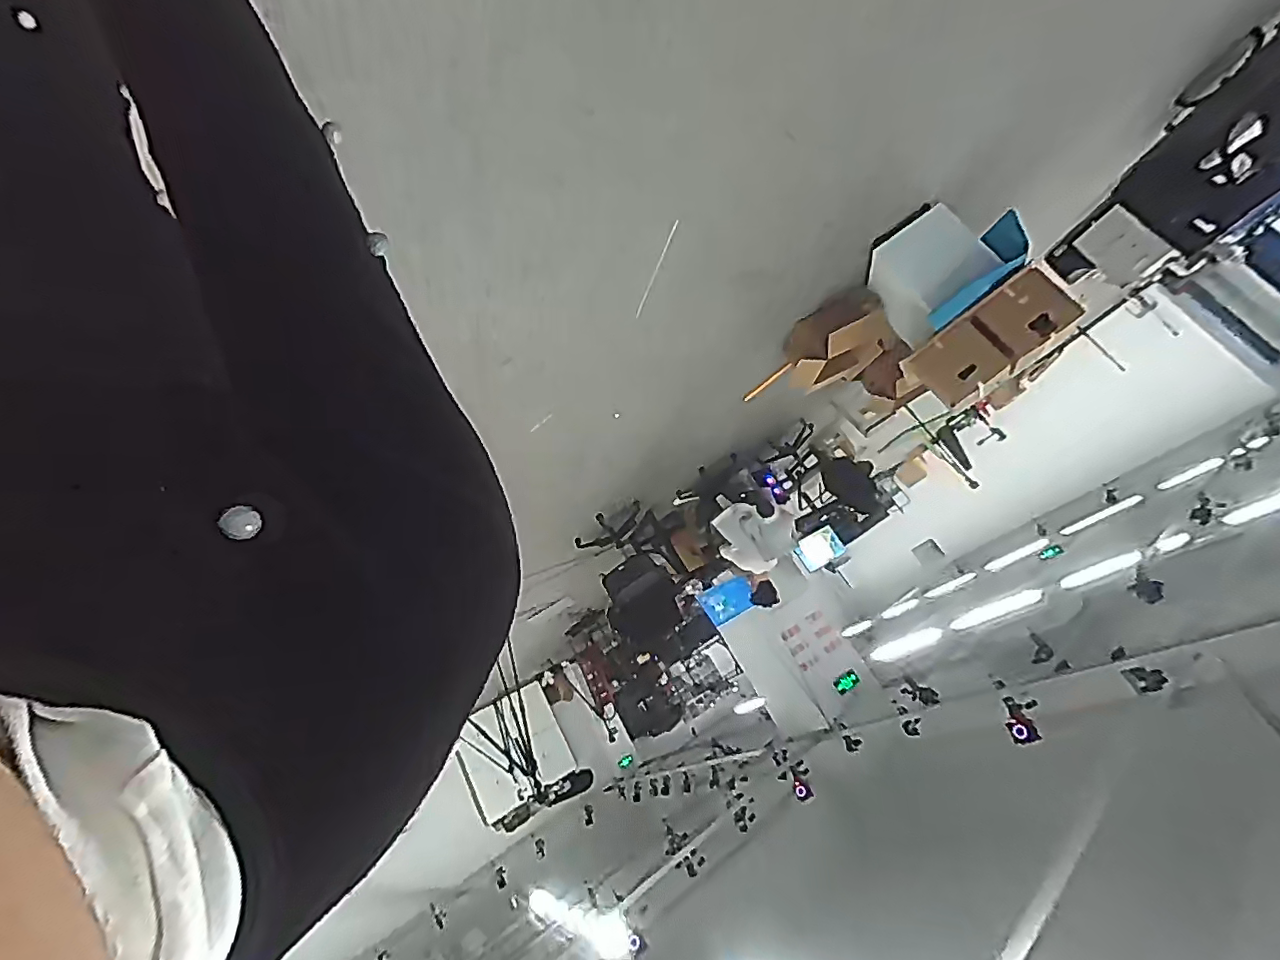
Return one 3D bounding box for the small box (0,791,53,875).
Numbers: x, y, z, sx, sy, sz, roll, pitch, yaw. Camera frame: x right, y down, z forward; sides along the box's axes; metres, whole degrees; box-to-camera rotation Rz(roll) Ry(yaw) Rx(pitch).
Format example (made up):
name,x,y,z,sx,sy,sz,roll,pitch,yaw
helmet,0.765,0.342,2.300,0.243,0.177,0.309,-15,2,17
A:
name,x,y,z,sx,sy,sz,roll,pitch,yaw
small box,-1.746,0.968,1.457,0.168,0.176,0.179,-20,159,-32
